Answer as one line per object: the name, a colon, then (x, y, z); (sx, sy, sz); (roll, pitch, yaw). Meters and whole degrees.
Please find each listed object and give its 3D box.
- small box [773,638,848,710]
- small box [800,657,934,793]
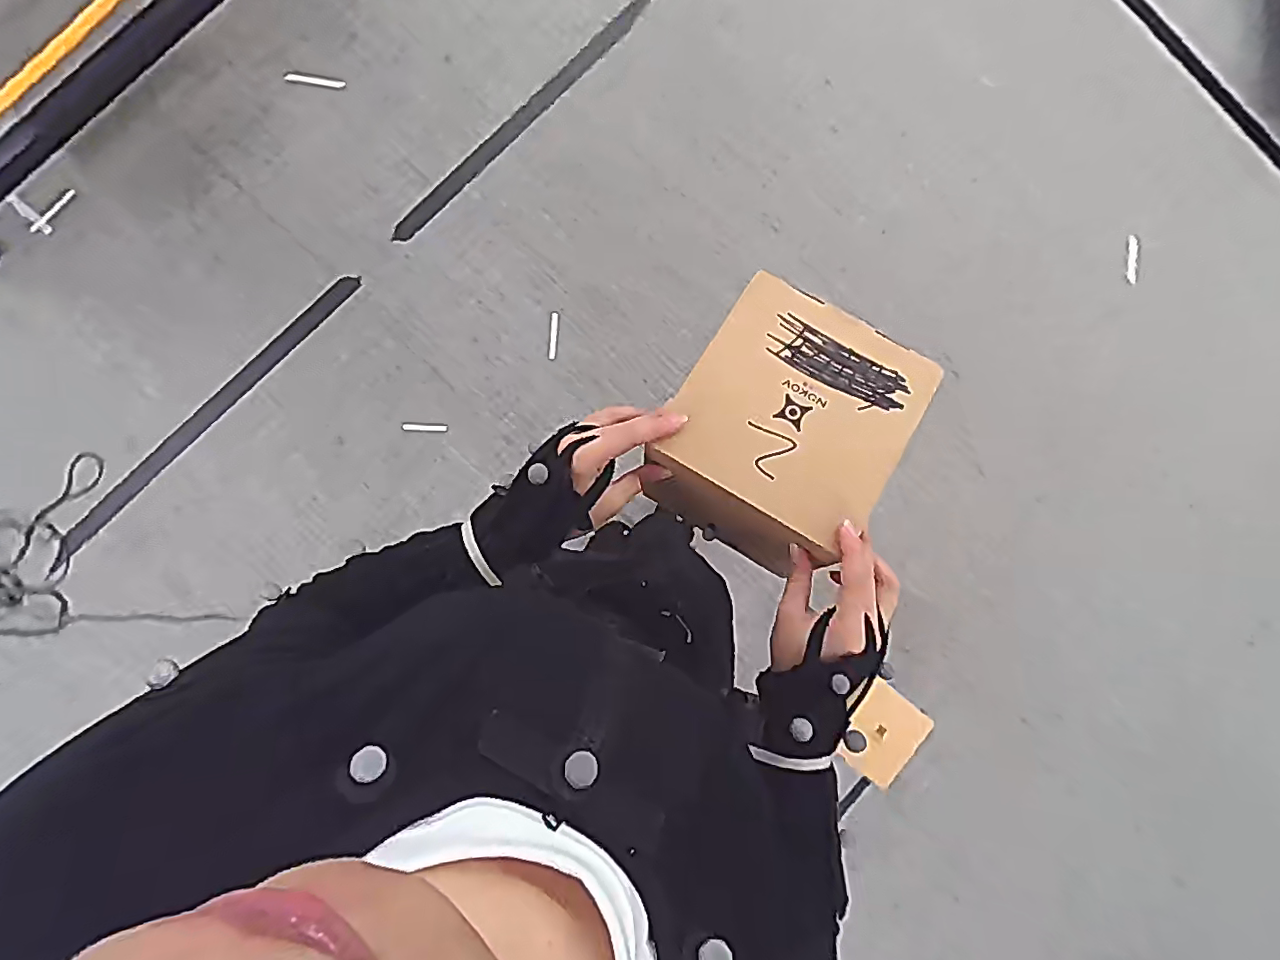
small box: (0.458, 0.513, 1.329); (0.168, 0.176, 0.179); (-44, 93, -3)
small box: (0.478, 0.515, 1.168); (0.168, 0.176, 0.179); (39, 87, -3)
